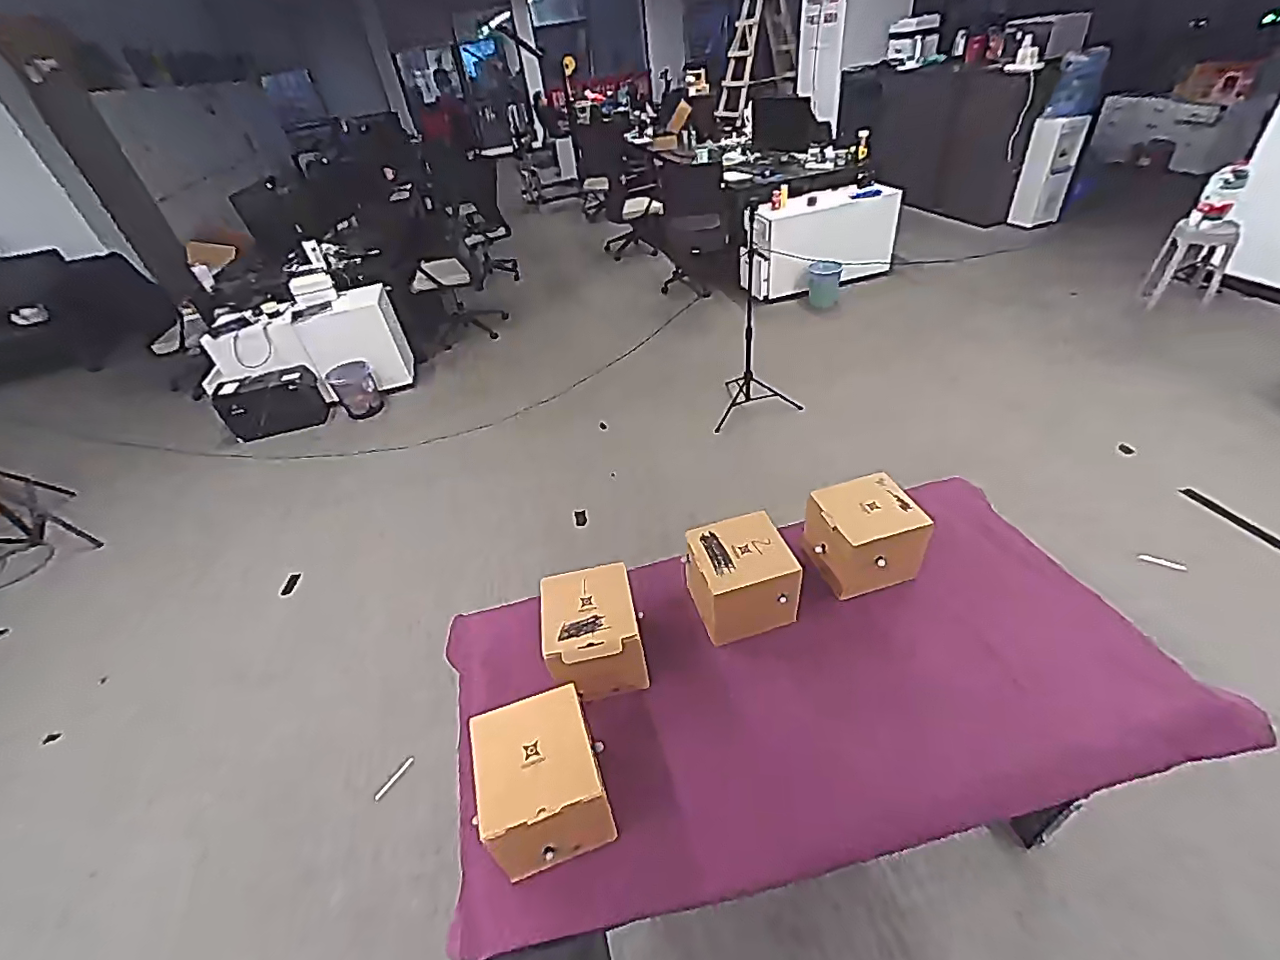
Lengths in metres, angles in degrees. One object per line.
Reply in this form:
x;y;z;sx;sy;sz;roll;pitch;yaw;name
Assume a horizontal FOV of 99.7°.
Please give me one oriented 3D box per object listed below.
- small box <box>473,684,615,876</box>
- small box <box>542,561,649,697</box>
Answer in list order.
-0.144;0.450;0.817;0.168;0.176;0.179;-16;40;-12;small box
-0.082;0.284;1.010;0.168;0.176;0.179;-11;39;-3;small box
